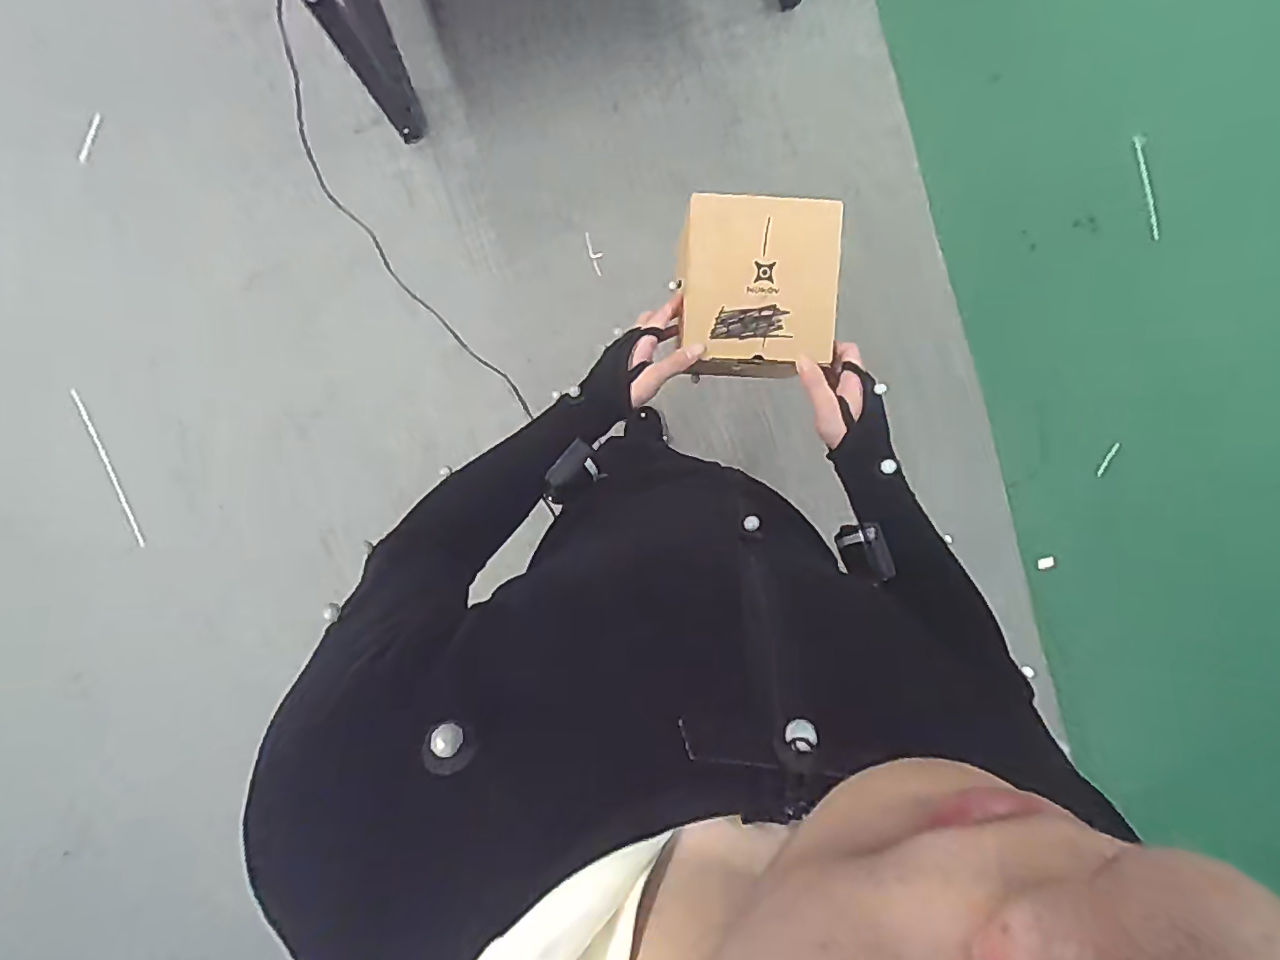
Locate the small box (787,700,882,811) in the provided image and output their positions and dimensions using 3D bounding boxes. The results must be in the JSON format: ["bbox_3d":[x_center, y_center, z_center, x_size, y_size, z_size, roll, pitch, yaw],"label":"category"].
[{"bbox_3d":[0.497,0.706,1.399,0.168,0.176,0.179,-14,96,-1],"label":"small box"}]

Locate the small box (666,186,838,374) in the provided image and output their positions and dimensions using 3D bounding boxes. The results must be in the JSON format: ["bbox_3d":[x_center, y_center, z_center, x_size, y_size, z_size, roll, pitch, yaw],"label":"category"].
[{"bbox_3d":[0.121,-0.224,0.652,0.168,0.176,0.179,2,94,-2],"label":"small box"}]
